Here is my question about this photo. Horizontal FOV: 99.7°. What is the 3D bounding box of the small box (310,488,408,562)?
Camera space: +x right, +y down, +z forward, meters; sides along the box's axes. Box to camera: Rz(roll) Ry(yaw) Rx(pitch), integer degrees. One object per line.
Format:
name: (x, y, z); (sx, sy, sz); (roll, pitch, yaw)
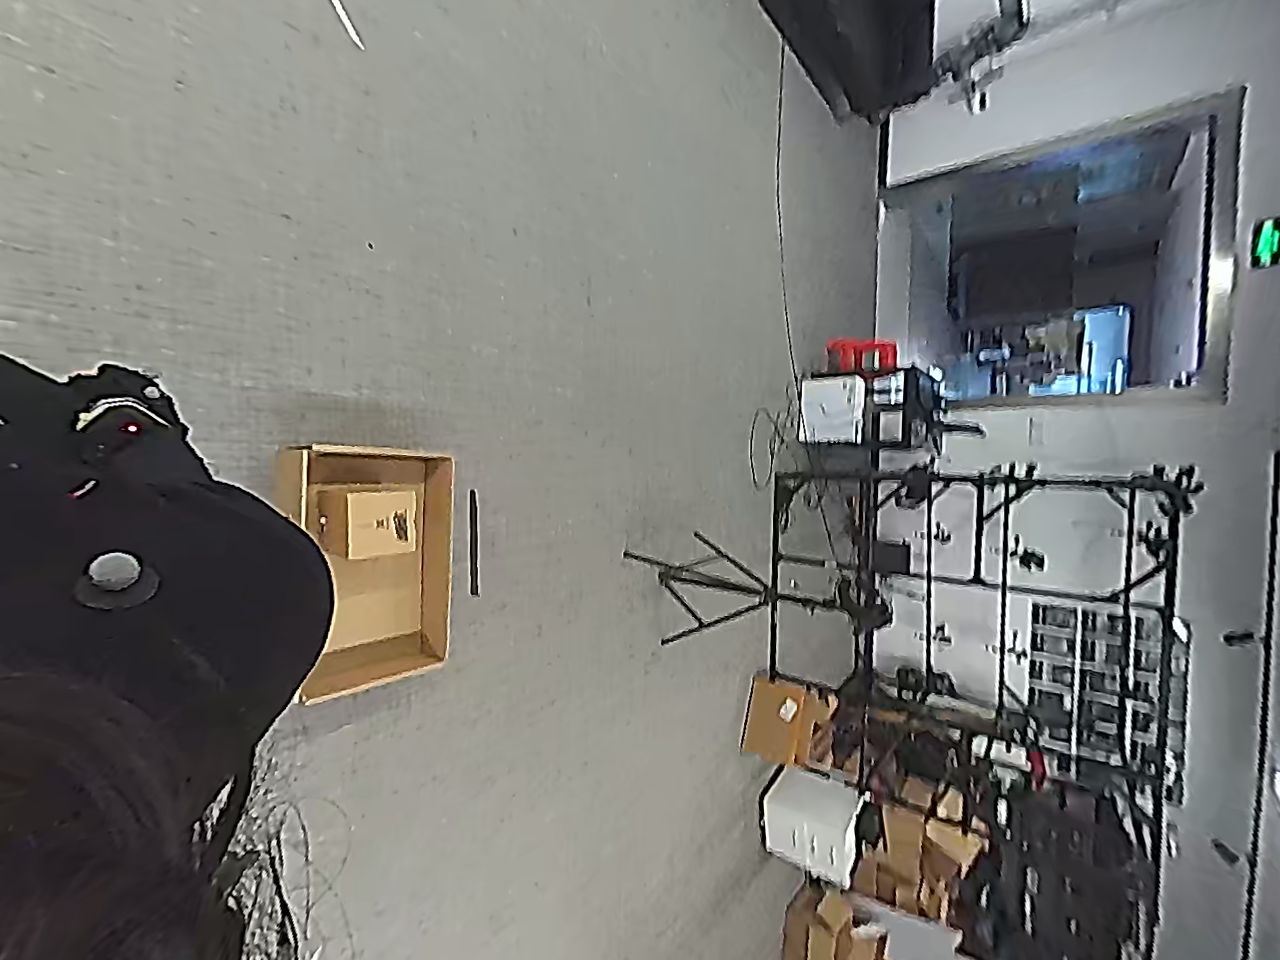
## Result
small box: (-0.732, 0.111, 1.411); (0.179, 0.176, 0.168); (-2, 95, -53)
